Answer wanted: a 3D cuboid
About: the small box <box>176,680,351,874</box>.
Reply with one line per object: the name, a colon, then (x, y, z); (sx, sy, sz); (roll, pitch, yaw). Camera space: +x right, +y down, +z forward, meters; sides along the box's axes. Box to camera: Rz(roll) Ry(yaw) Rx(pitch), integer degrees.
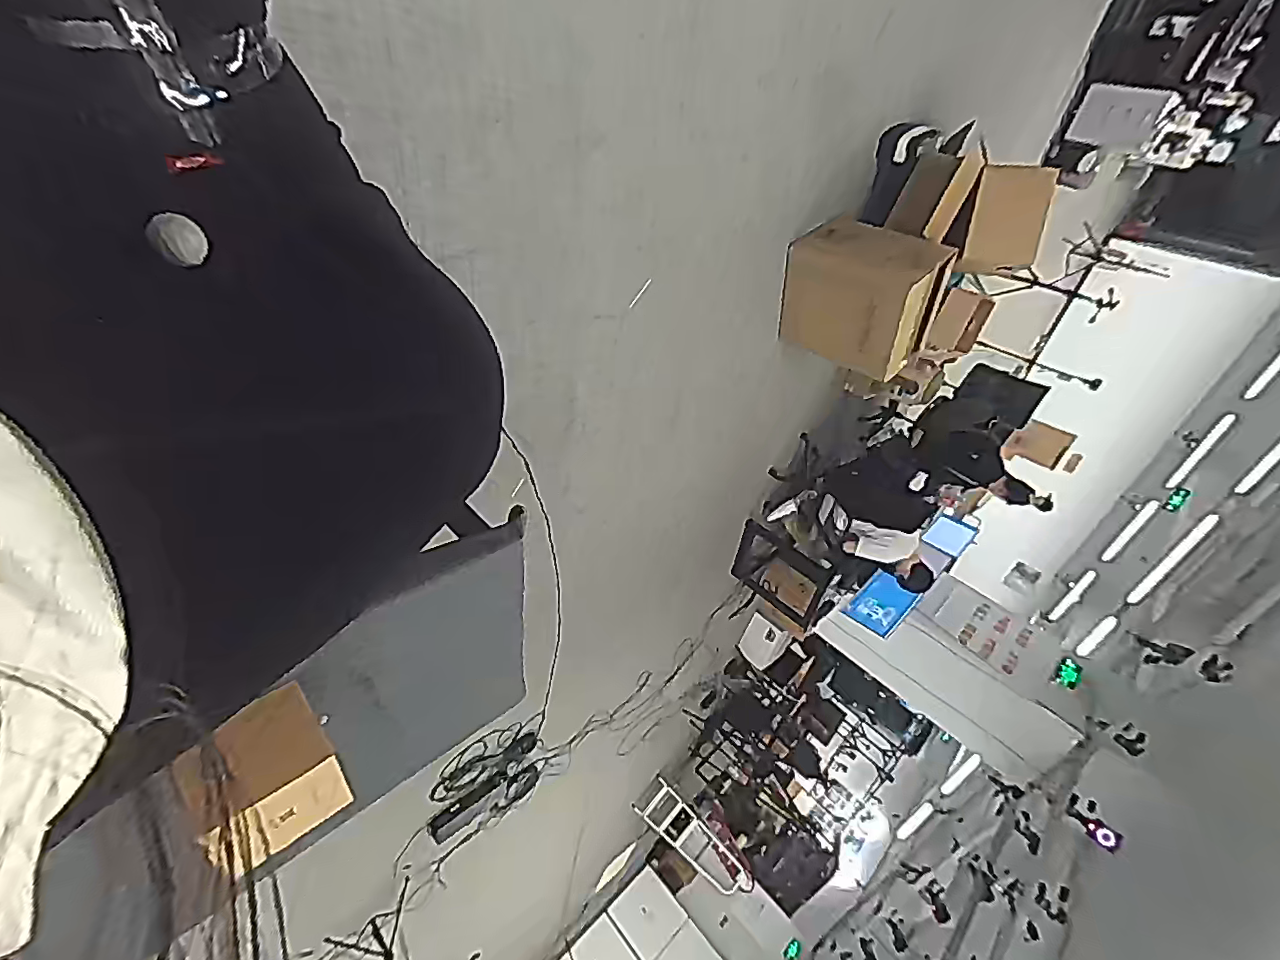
small box: (-0.600, 0.464, 0.863); (0.179, 0.176, 0.168); (-28, 142, -38)
